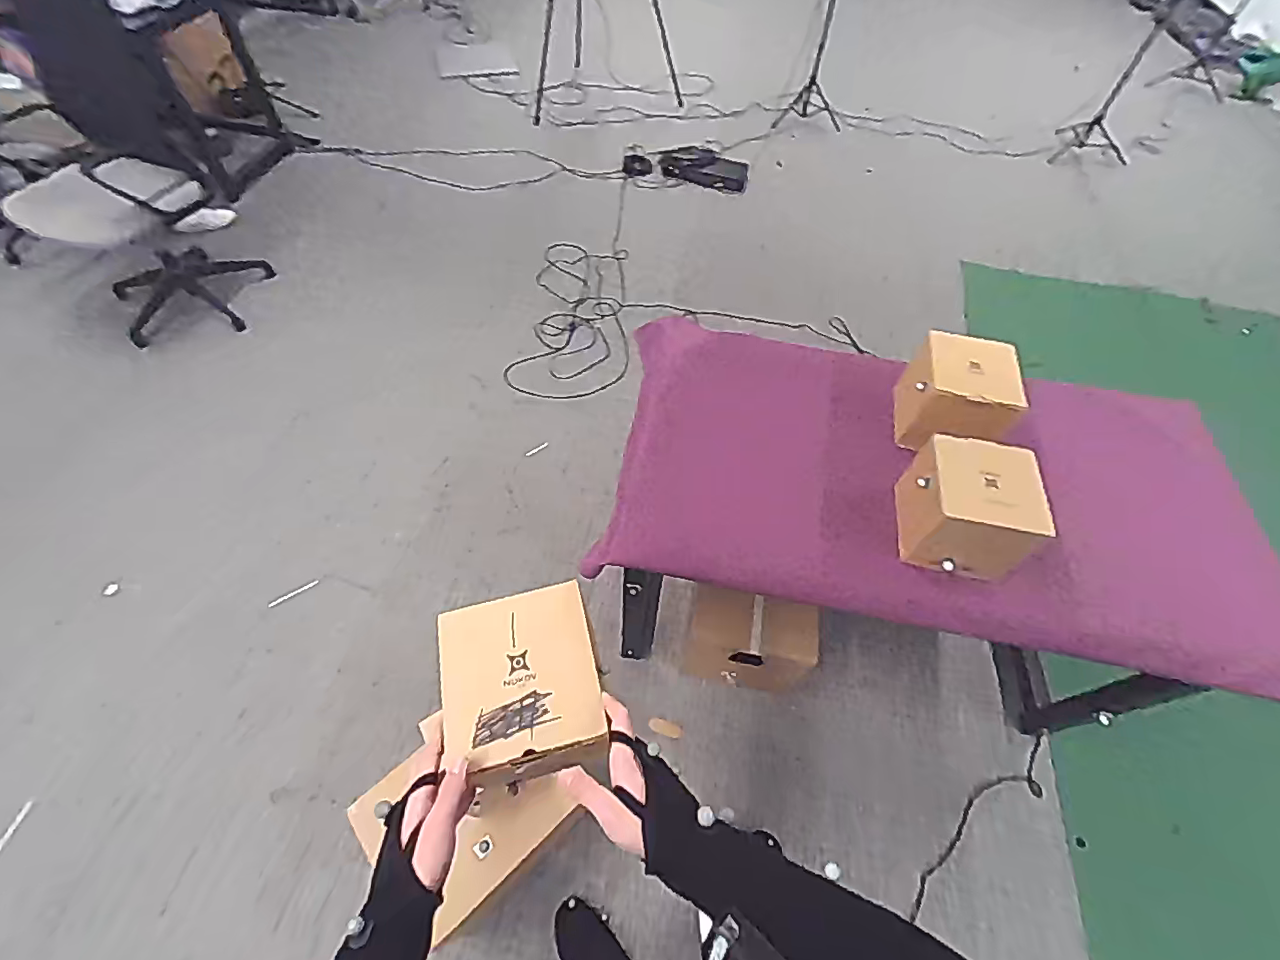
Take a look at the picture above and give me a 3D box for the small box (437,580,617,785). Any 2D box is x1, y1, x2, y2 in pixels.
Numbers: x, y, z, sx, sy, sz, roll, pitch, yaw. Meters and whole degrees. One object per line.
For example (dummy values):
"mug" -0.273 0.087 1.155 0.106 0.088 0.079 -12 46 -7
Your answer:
"small box" -0.126 0.246 0.639 0.168 0.176 0.179 -13 57 -6

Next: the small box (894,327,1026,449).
"small box" 0.625 -0.172 1.081 0.168 0.176 0.179 12 57 6

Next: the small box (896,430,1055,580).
"small box" 0.556 0.045 0.927 0.168 0.176 0.179 11 55 7

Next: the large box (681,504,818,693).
"large box" 0.301 0.337 1.521 0.320 0.320 0.408 11 55 4
